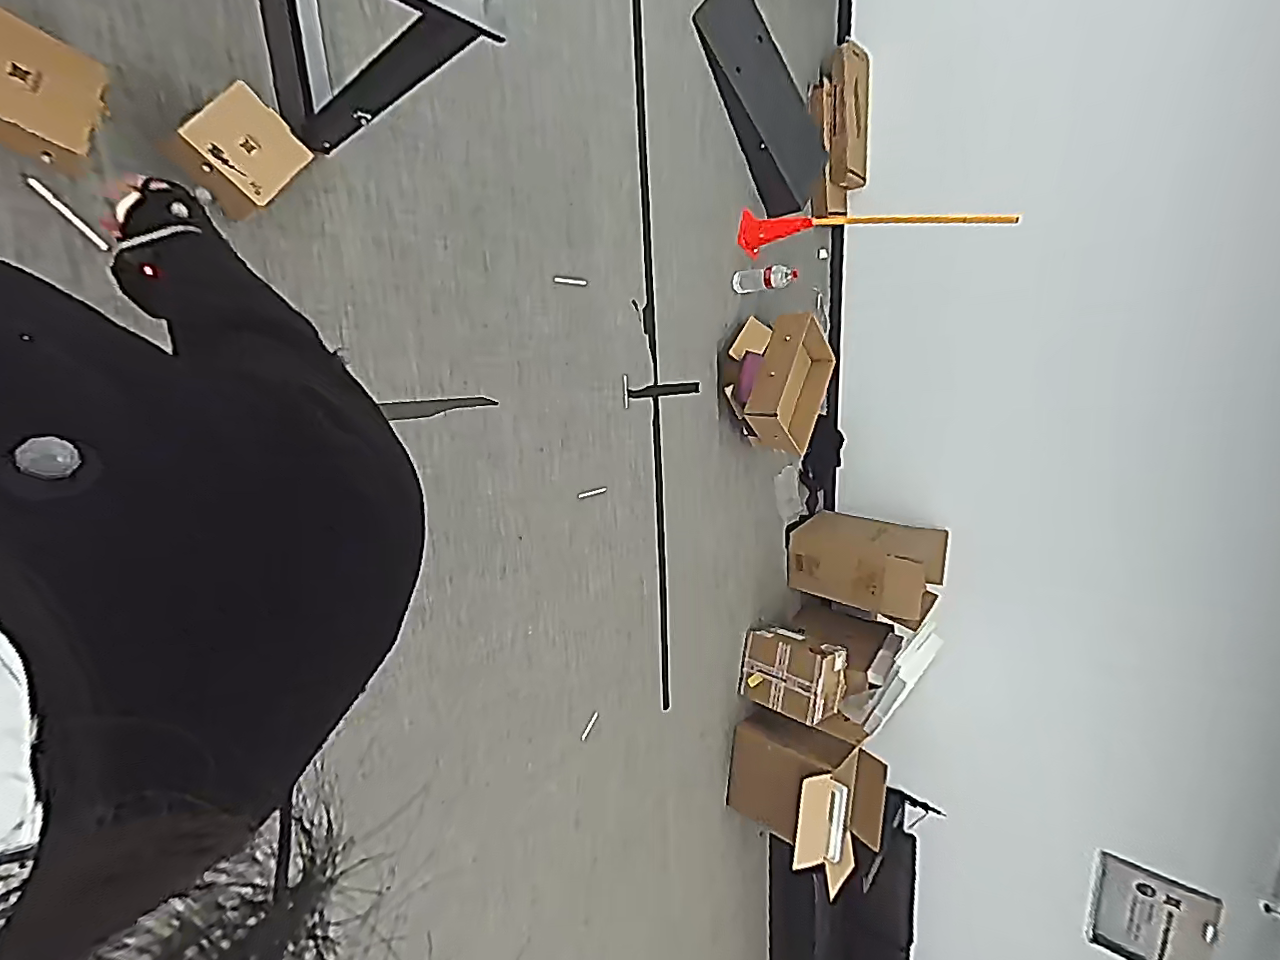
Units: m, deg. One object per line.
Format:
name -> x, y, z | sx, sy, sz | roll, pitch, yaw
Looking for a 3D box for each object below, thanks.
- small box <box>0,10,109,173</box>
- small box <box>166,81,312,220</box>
small box -> -1.050, -0.654, 0.918 | 0.179, 0.176, 0.168 | 16, 84, -49
small box -> -0.849, -0.687, 1.143 | 0.168, 0.176, 0.179 | 47, 62, -42
